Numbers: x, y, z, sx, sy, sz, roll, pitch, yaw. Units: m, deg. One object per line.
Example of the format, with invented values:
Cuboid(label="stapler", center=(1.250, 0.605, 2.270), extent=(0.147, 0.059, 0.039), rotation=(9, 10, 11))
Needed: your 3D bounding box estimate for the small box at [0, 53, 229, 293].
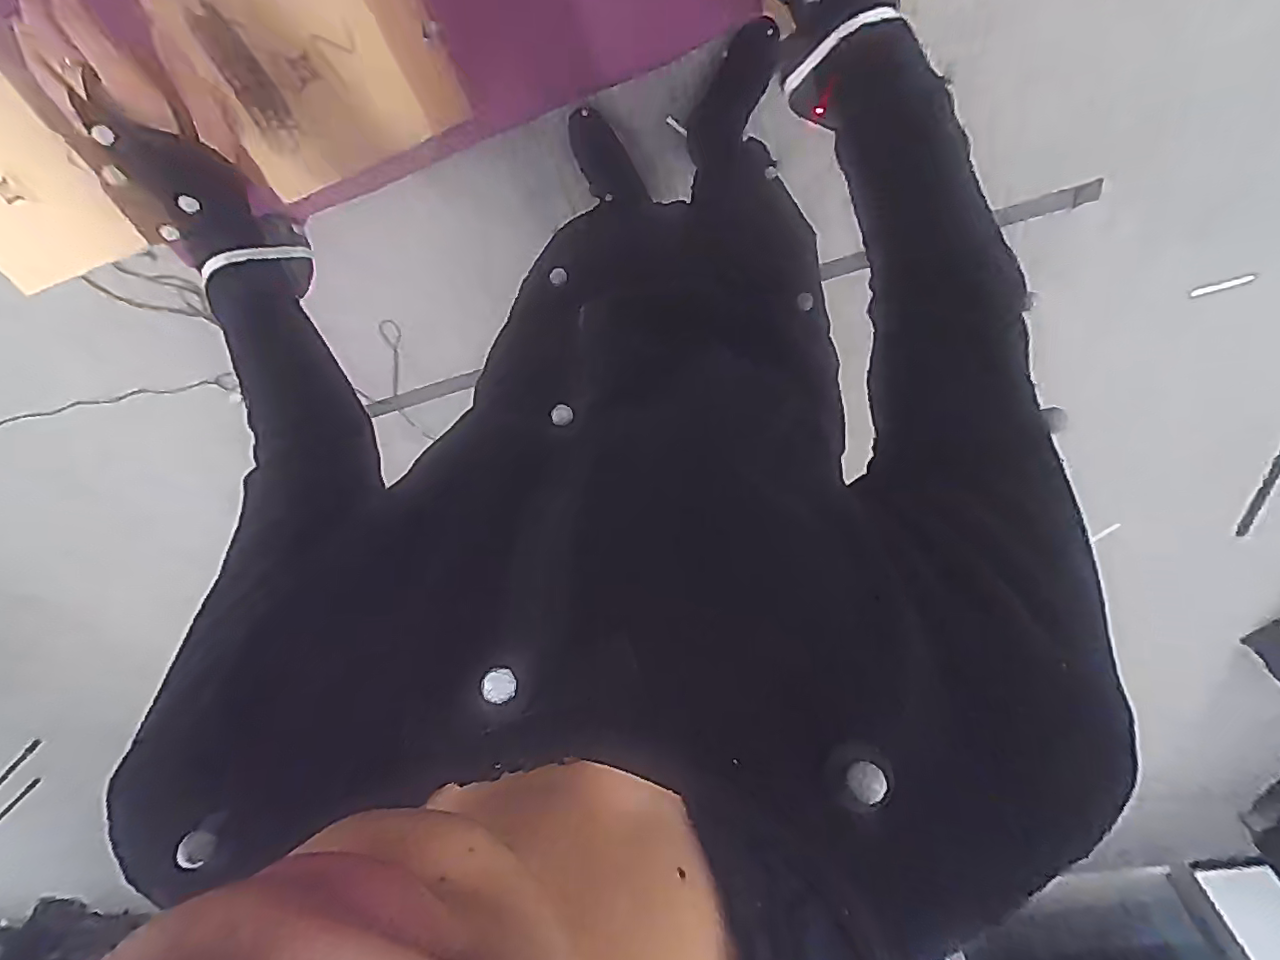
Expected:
Cuboid(label="small box", center=(-0.611, -0.333, 0.587), extent=(0.179, 0.176, 0.168), rotation=(-15, 129, 10))
